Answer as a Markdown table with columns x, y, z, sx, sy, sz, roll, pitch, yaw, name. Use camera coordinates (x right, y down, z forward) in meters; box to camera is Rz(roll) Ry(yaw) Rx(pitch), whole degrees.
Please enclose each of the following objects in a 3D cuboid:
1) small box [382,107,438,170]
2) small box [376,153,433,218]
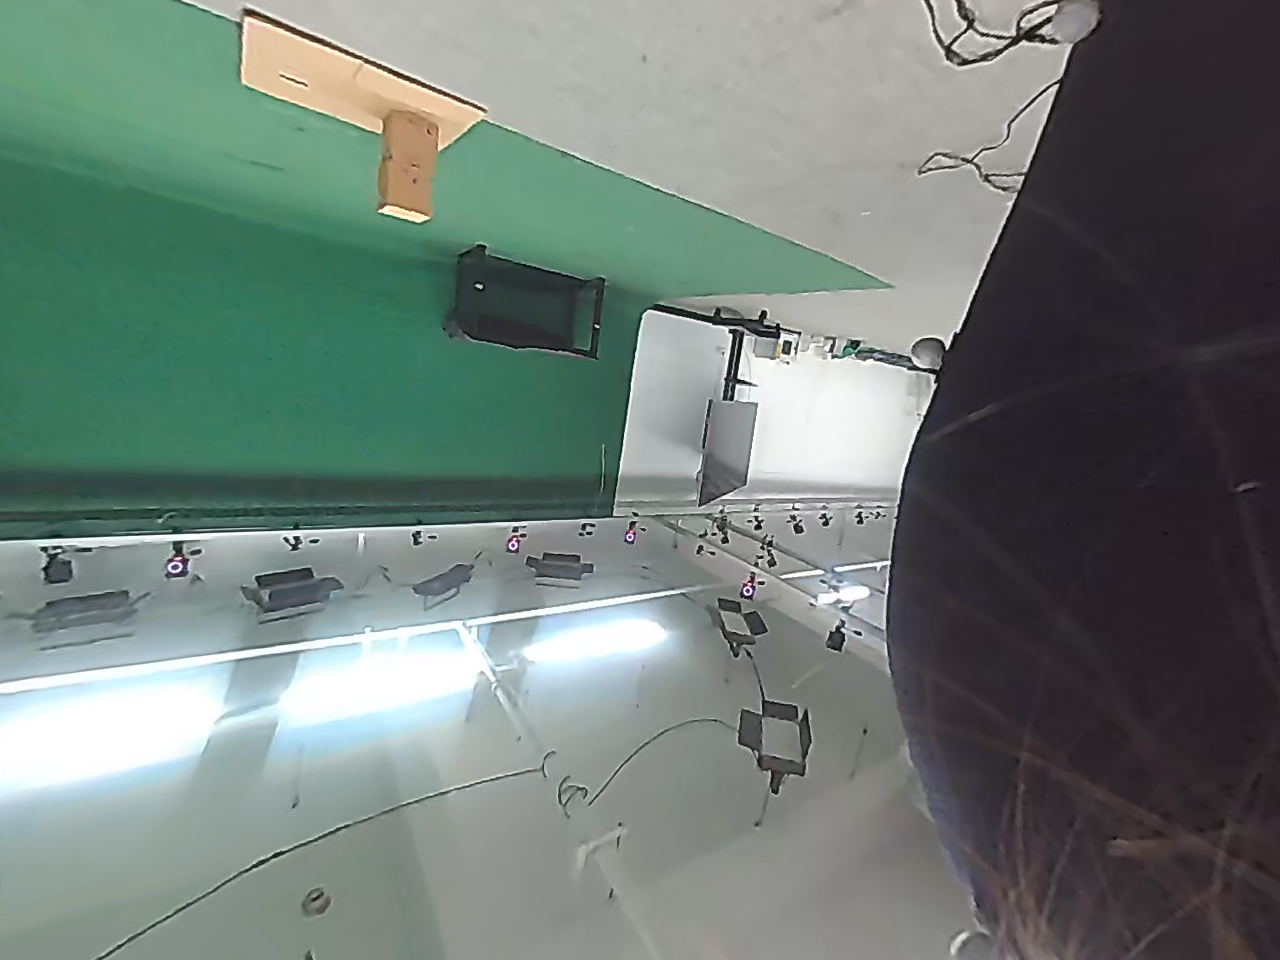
| x | y | z | sx | sy | sz | roll | pitch | yaw | name |
| --- | --- | --- | --- | --- | --- | --- | --- | --- | --- |
| -0.892 | -1.313 | 2.094 | 0.168 | 0.176 | 0.179 | -1 | -164 | -38 | small box |
| -0.927 | -1.159 | 2.133 | 0.168 | 0.176 | 0.179 | -1 | -165 | -39 | small box |
